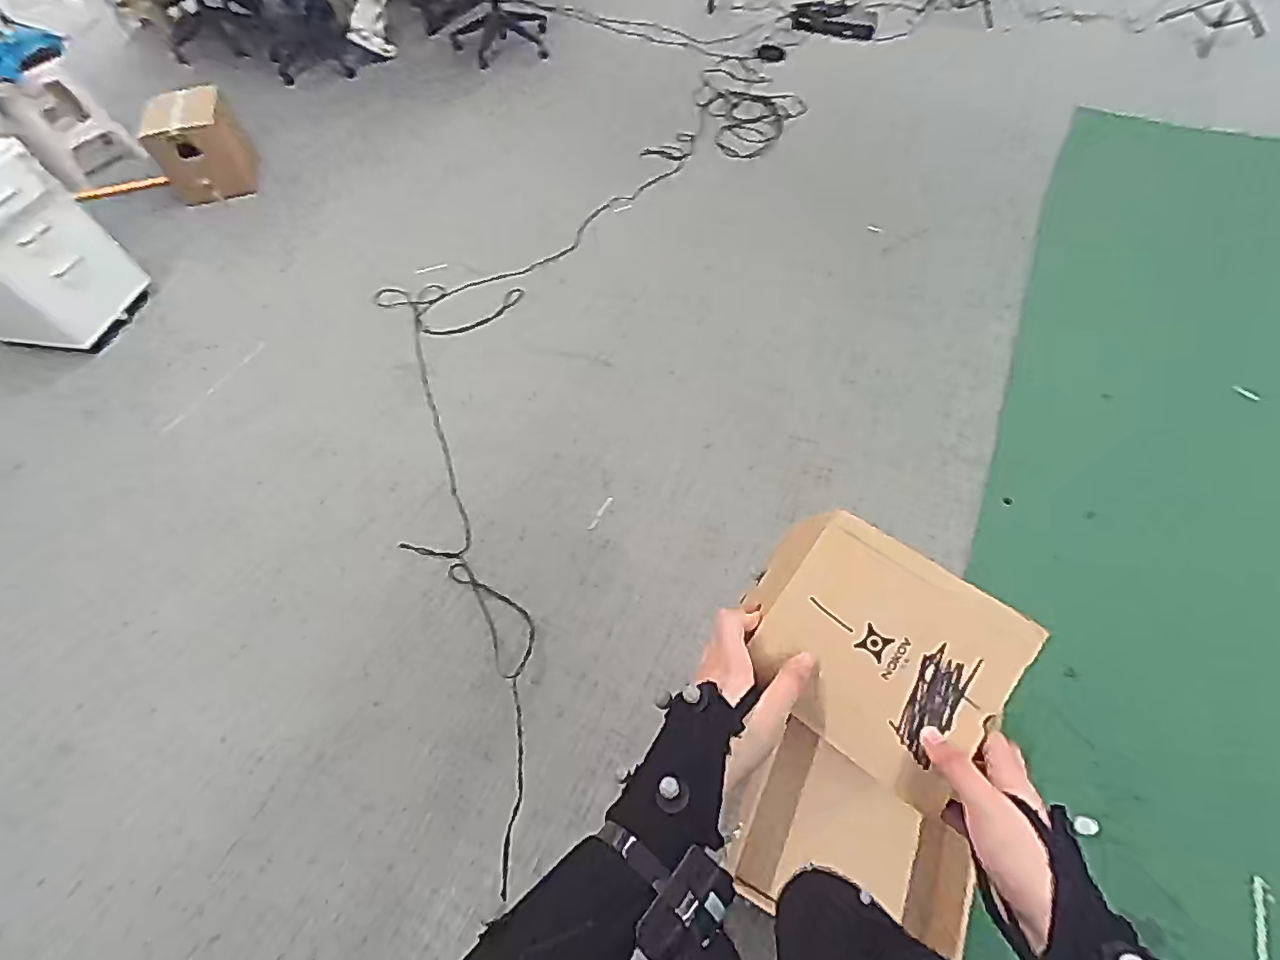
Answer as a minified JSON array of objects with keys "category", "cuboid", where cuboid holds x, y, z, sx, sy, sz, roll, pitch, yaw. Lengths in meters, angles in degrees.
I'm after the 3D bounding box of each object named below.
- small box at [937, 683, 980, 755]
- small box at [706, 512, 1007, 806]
[{"category":"small box","cuboid":[0.527,0.417,1.051,0.179,0.176,0.168,19,61,16]},{"category":"small box","cuboid":[0.180,0.150,0.510,0.179,0.176,0.168,35,83,8]}]
